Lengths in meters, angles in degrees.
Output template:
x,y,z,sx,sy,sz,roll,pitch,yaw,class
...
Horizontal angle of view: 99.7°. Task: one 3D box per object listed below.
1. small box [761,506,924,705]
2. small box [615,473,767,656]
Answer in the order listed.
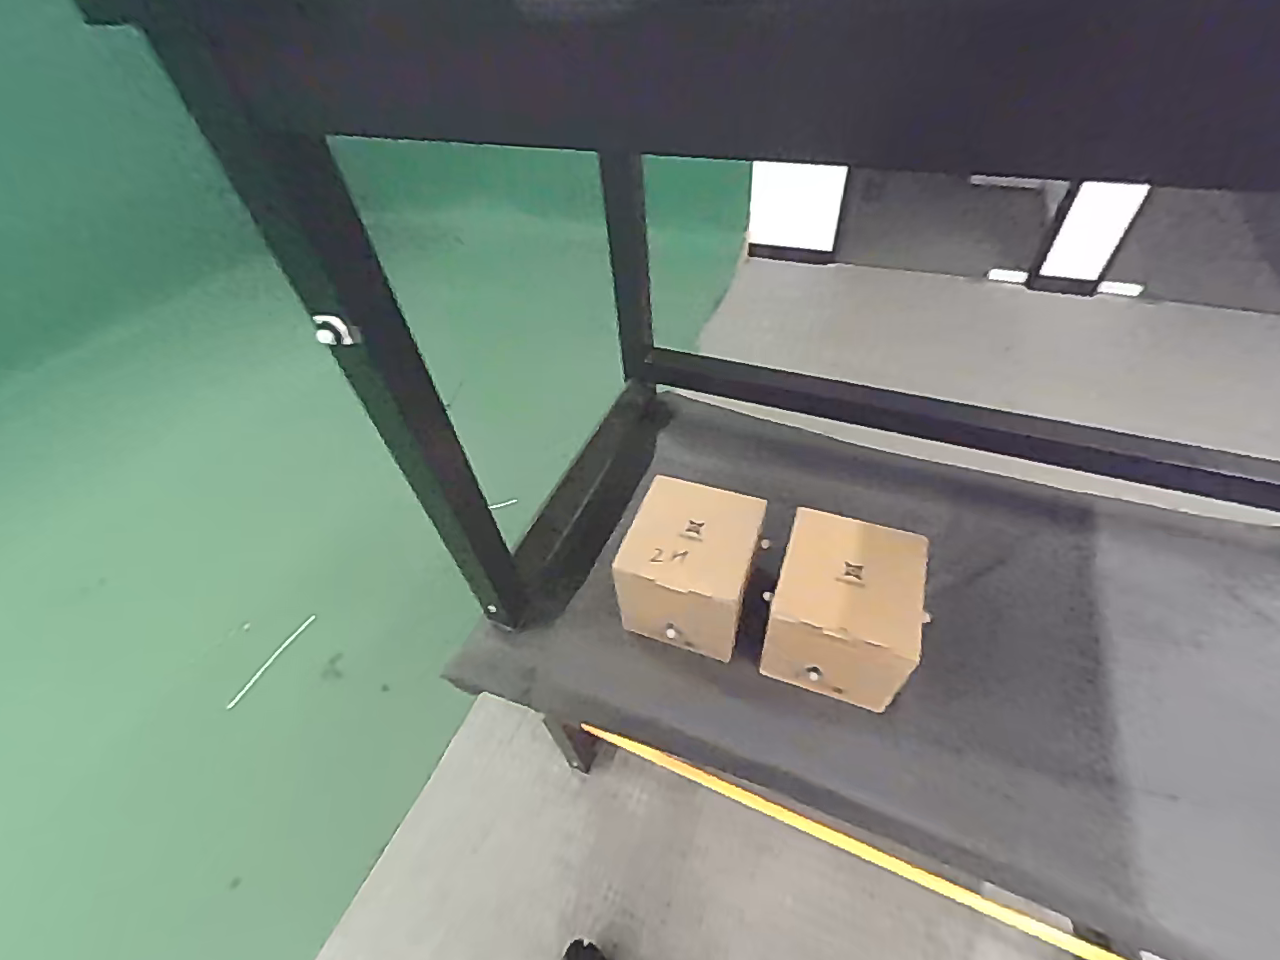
x,y,z,sx,sy,sz,roll,pitch,yaw,class
0.267,0.169,0.730,0.168,0.176,0.179,13,50,18,small box
0.076,0.122,0.787,0.168,0.176,0.179,14,50,17,small box
